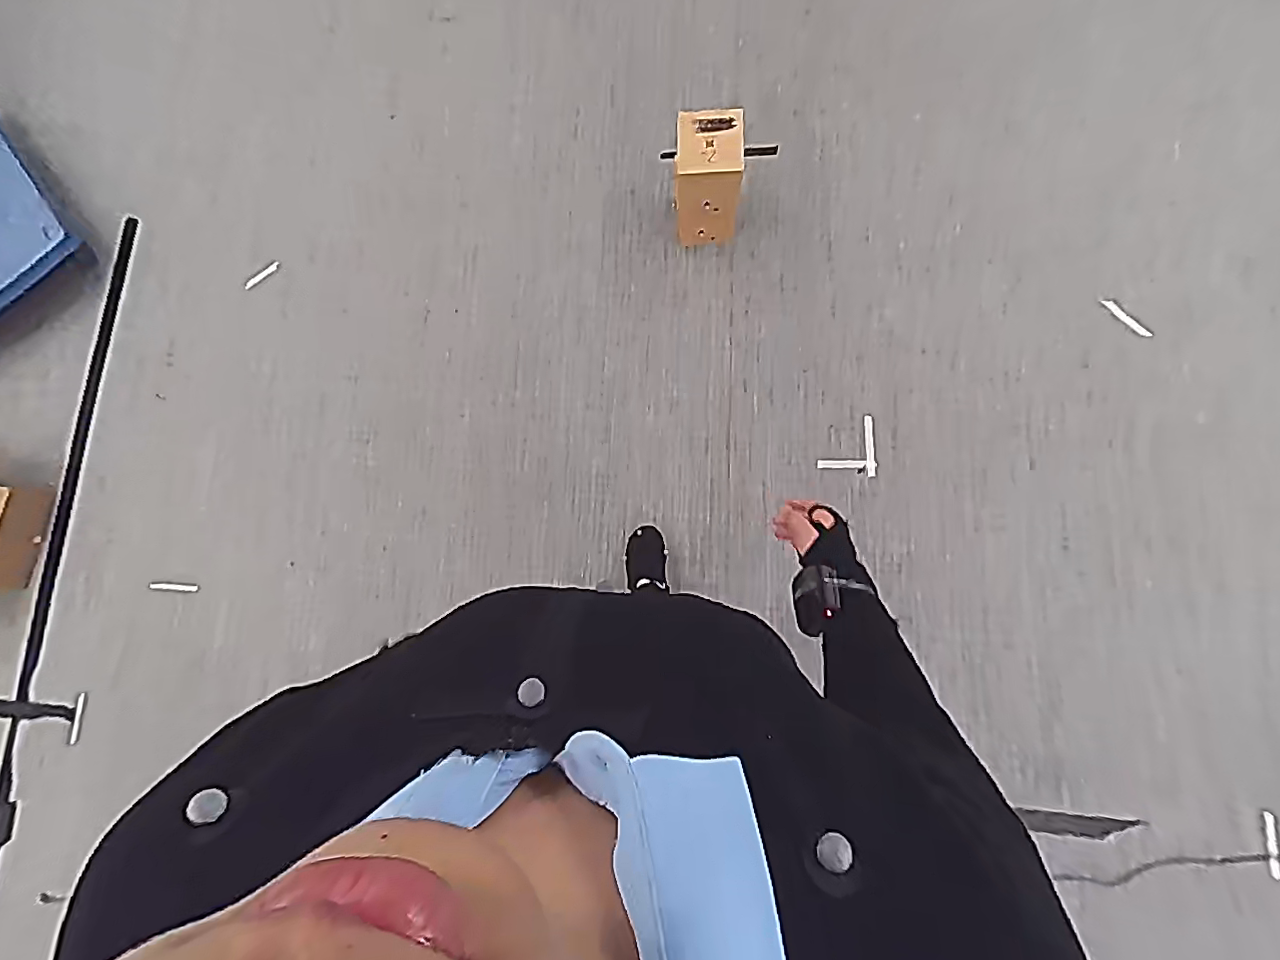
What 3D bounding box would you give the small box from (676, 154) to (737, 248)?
[{"bbox_3d":[0.189,-0.812,1.583,0.168,0.176,0.179,-3,80,5],"label":"small box"}]
